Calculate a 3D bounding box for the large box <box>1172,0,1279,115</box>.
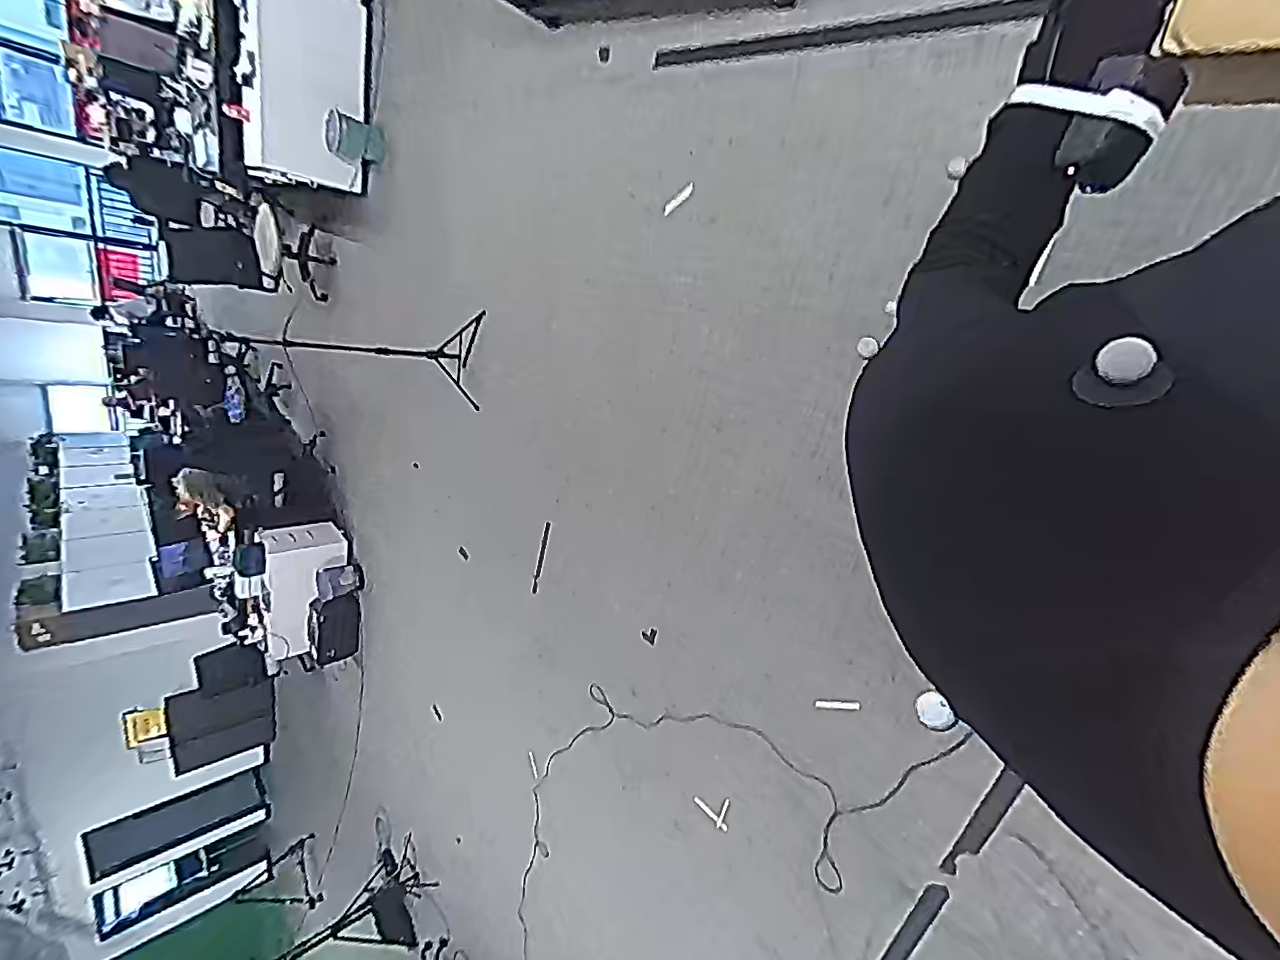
[{"bbox_3d":[0.578,-0.380,0.249,0.408,0.320,0.320,25,127,36],"label":"large box"}]
